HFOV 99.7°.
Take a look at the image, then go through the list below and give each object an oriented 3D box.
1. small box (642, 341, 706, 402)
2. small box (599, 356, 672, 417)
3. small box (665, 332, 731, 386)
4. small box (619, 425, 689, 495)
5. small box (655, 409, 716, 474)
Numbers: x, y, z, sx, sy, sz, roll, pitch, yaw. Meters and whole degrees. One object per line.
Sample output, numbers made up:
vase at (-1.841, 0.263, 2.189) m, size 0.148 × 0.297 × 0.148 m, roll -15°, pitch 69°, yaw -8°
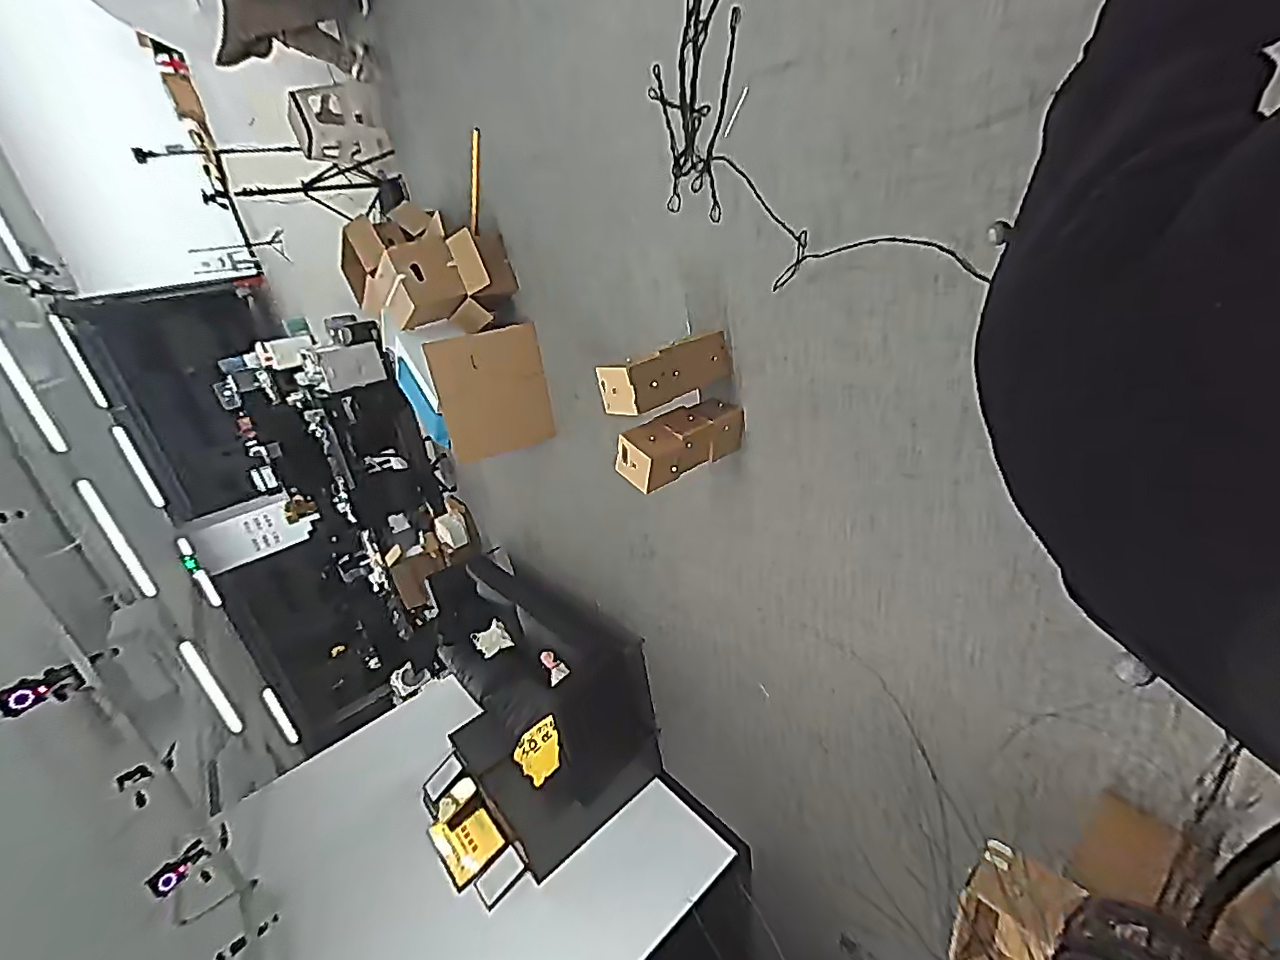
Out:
small box at (0.113, -0.383, 1.944) m, size 0.168 × 0.176 × 0.179 m, roll 2°, pitch 114°, yaw 53°
small box at (-0.007, -0.324, 1.850) m, size 0.179 × 0.176 × 0.168 m, roll 12°, pitch 122°, yaw 48°
small box at (0.226, -0.453, 2.039) m, size 0.179 × 0.176 × 0.168 m, roll 9°, pitch 119°, yaw 52°
small box at (0.048, -0.081, 1.944) m, size 0.179 × 0.176 × 0.168 m, roll 40°, pitch 139°, yaw 33°
small box at (0.167, -0.144, 2.038) m, size 0.168 × 0.176 × 0.179 m, roll 37°, pitch 137°, yaw 37°
